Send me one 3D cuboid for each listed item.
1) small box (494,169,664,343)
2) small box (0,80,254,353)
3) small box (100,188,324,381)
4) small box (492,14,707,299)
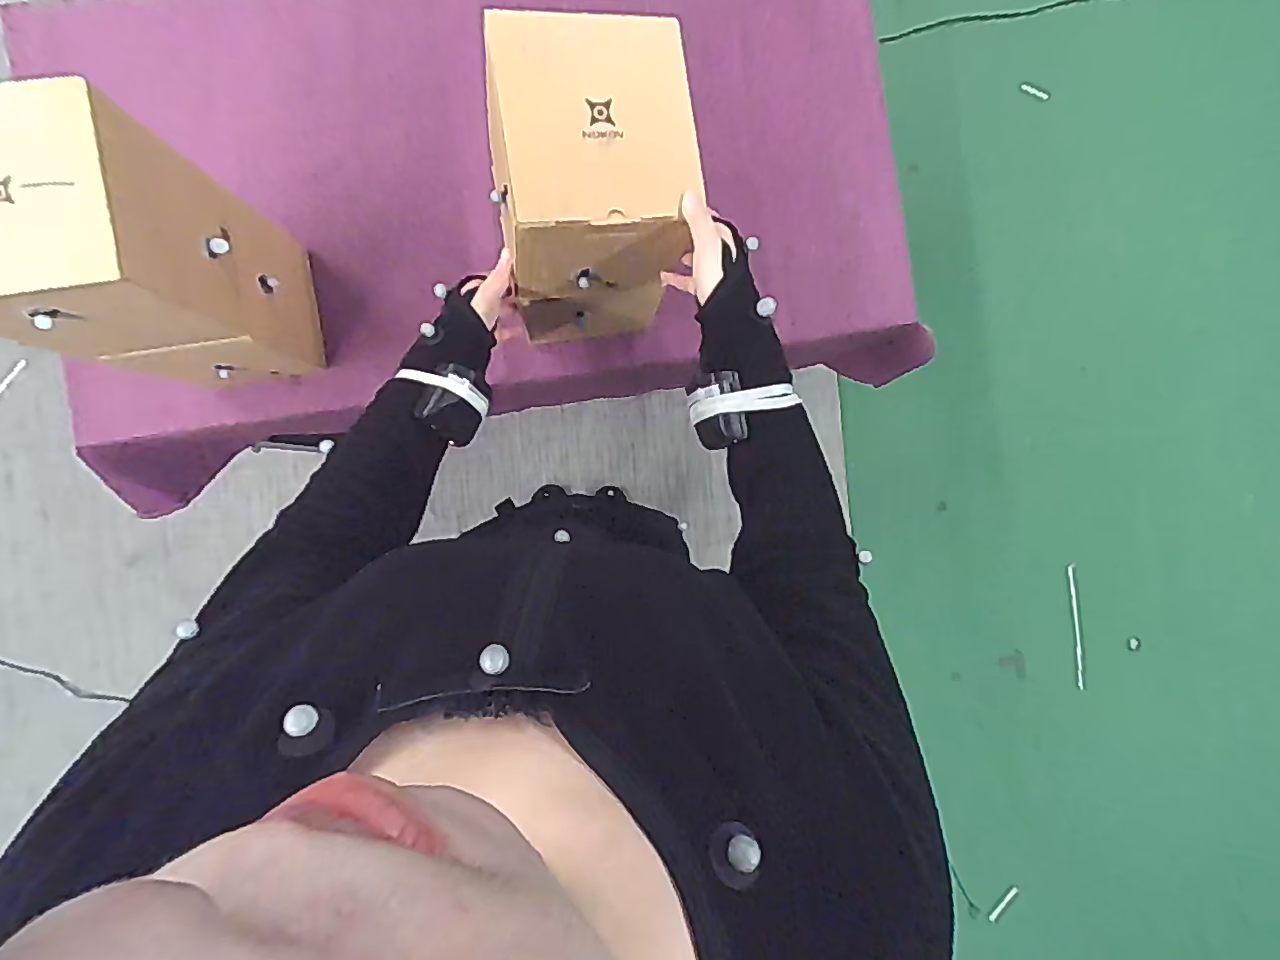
[{"bbox_3d":[-0.075,-0.285,0.698,0.179,0.176,0.168,-10,91,-6],"label":"small box"},{"bbox_3d":[-0.512,-0.226,0.507,0.179,0.176,0.168,-9,91,-4],"label":"small box"},{"bbox_3d":[-0.522,-0.226,0.671,0.168,0.176,0.179,-9,90,-4],"label":"small box"},{"bbox_3d":[-0.050,-0.296,0.529,0.168,0.176,0.179,-9,91,-13],"label":"small box"}]
